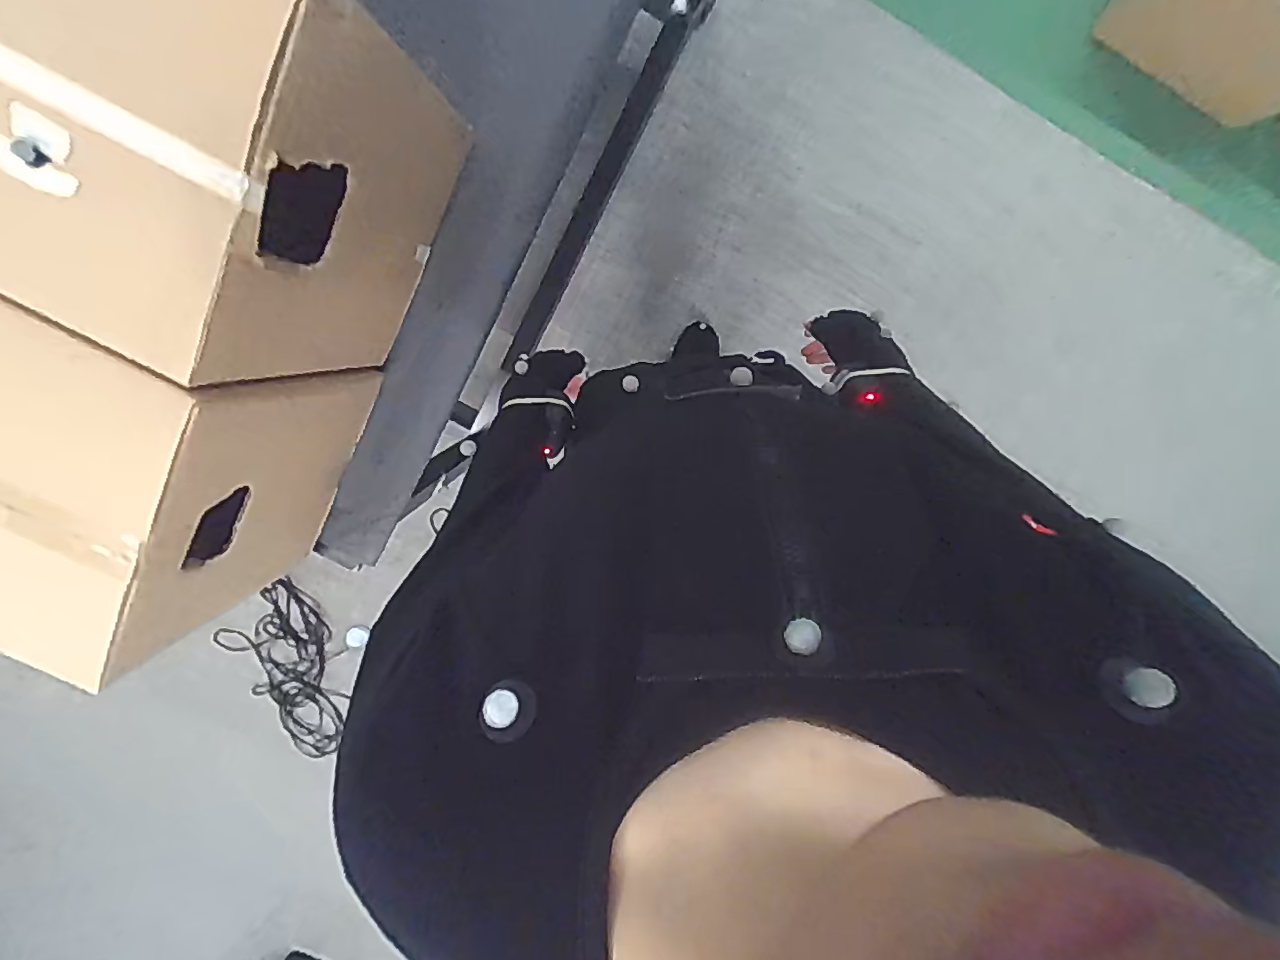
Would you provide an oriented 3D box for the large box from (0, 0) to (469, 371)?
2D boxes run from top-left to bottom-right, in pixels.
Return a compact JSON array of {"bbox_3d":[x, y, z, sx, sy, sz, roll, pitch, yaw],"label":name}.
[{"bbox_3d":[-0.444,-0.338,0.509,0.408,0.320,0.320,27,105,-6],"label":"large box"}]
